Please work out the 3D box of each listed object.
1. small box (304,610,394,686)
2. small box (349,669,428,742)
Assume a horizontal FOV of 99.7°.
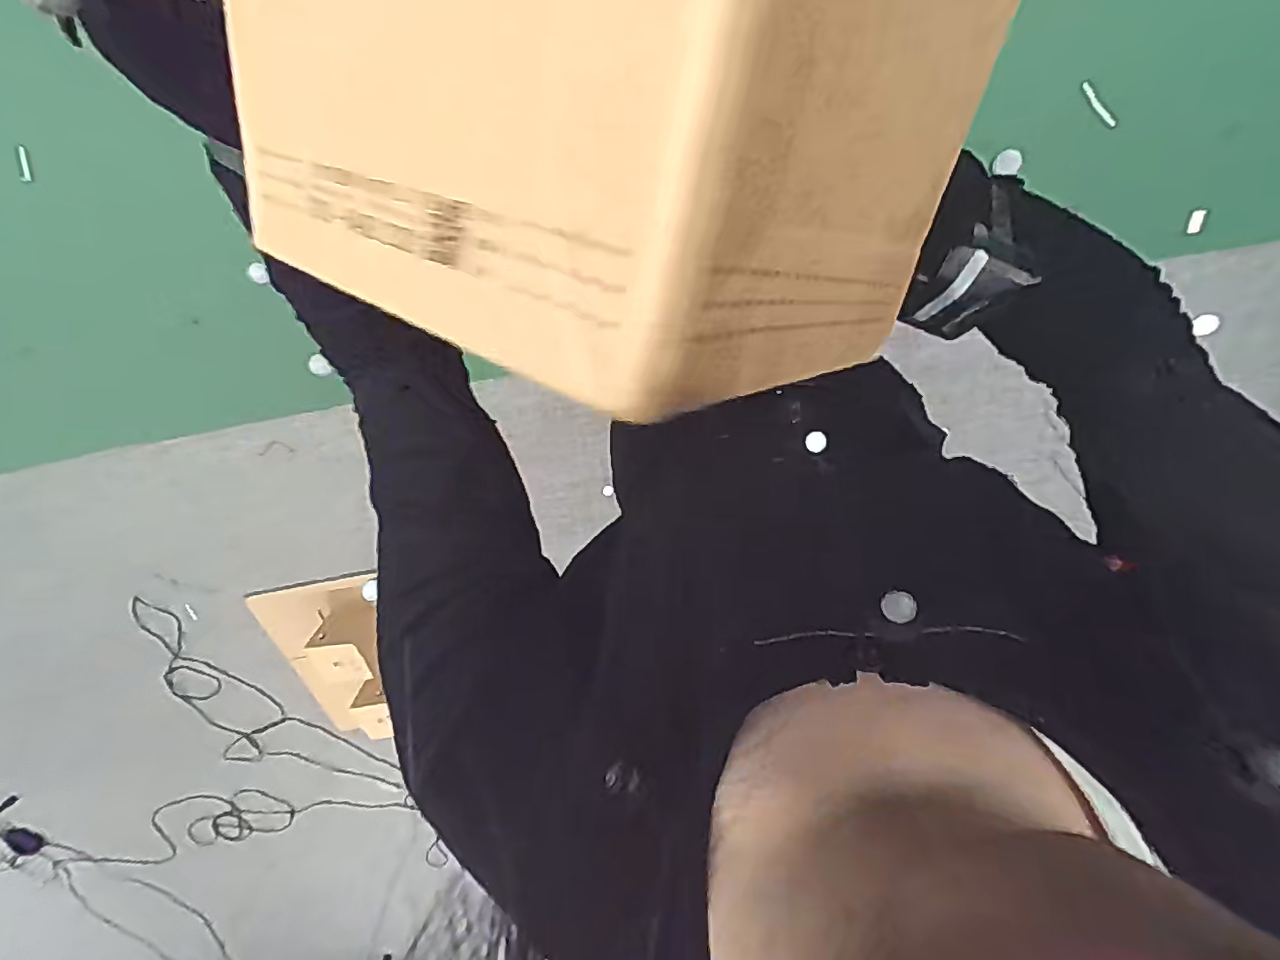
[{"bbox_3d":[-0.960,0.556,1.800,0.179,0.176,0.168,-8,118,5],"label":"small box"},{"bbox_3d":[-0.879,0.795,1.920,0.179,0.176,0.168,-13,117,9],"label":"small box"}]
